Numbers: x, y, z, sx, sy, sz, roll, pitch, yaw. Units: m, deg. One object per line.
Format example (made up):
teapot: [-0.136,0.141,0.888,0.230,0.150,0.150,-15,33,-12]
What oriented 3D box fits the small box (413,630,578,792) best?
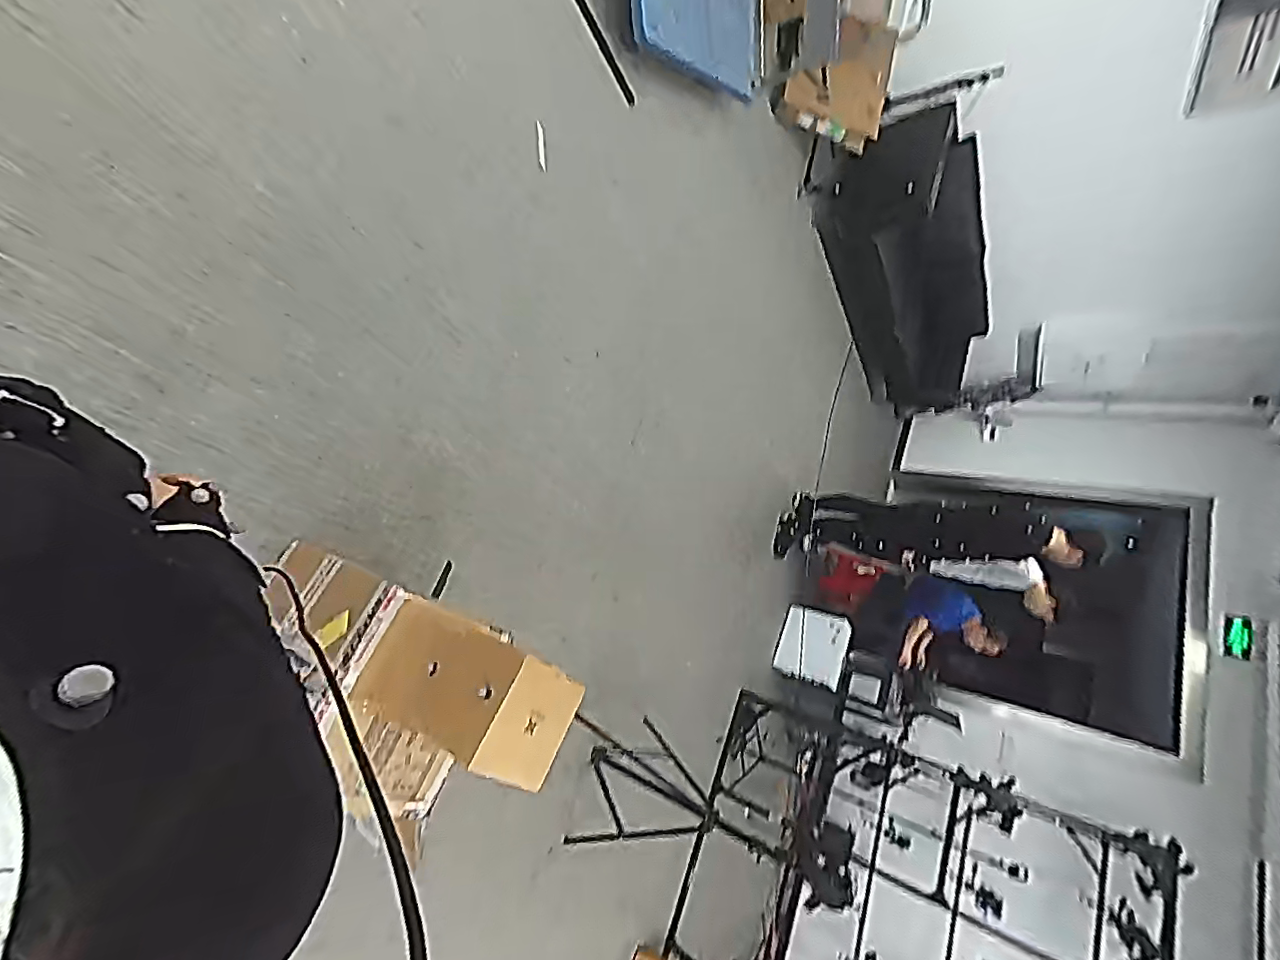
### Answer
small box: [-0.242,0.375,0.894,0.168,0.176,0.179,51,56,-41]

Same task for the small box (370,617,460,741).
small box: [-0.362,0.375,1.005,0.168,0.176,0.179,45,61,-44]
